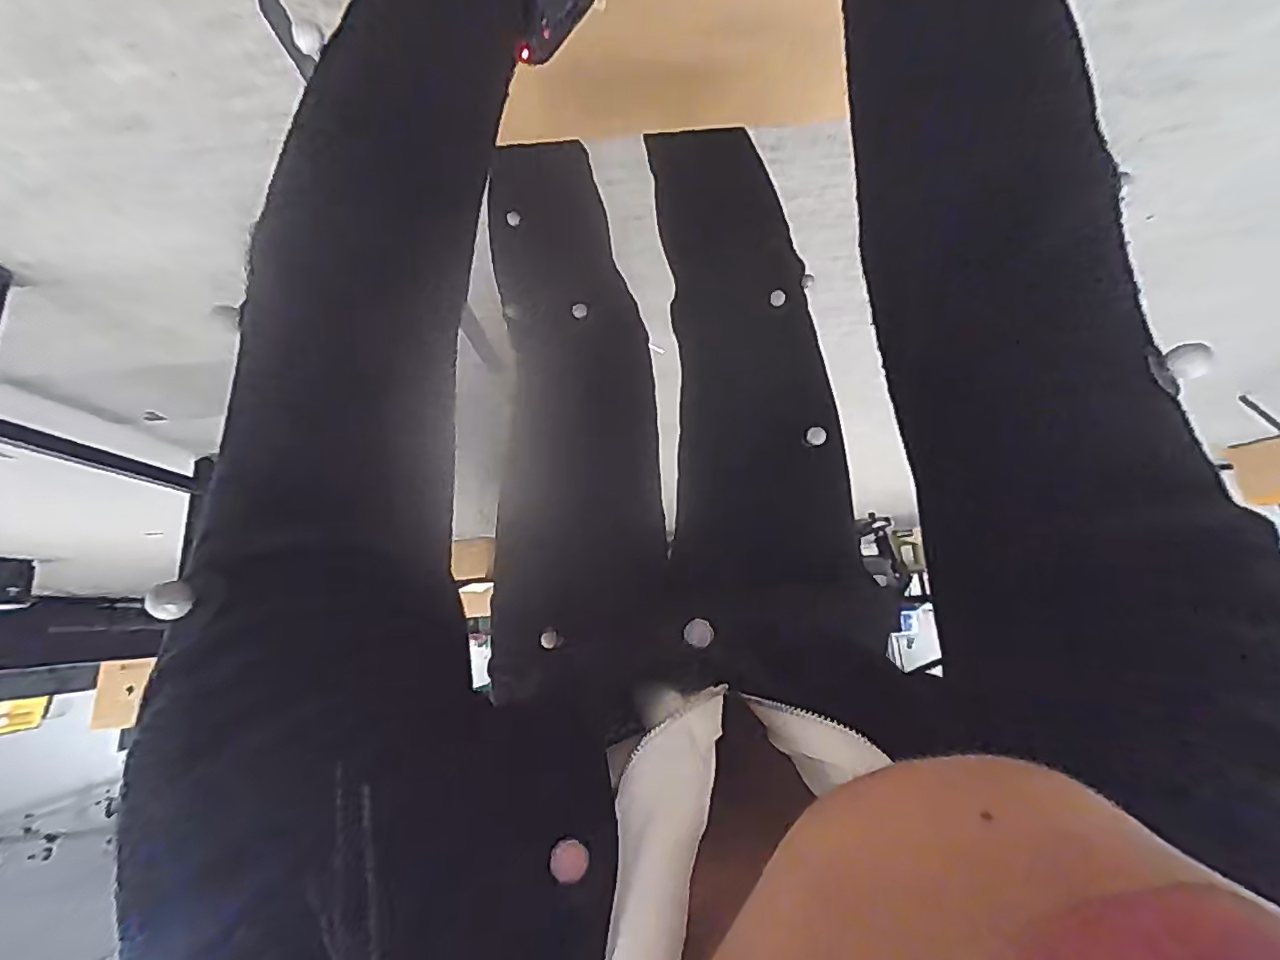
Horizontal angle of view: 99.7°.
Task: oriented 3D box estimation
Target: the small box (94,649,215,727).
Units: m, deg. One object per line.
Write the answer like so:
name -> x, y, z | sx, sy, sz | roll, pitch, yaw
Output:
small box -> -1.292, 0.551, 1.451 | 0.168, 0.176, 0.179 | -3, 166, 0
